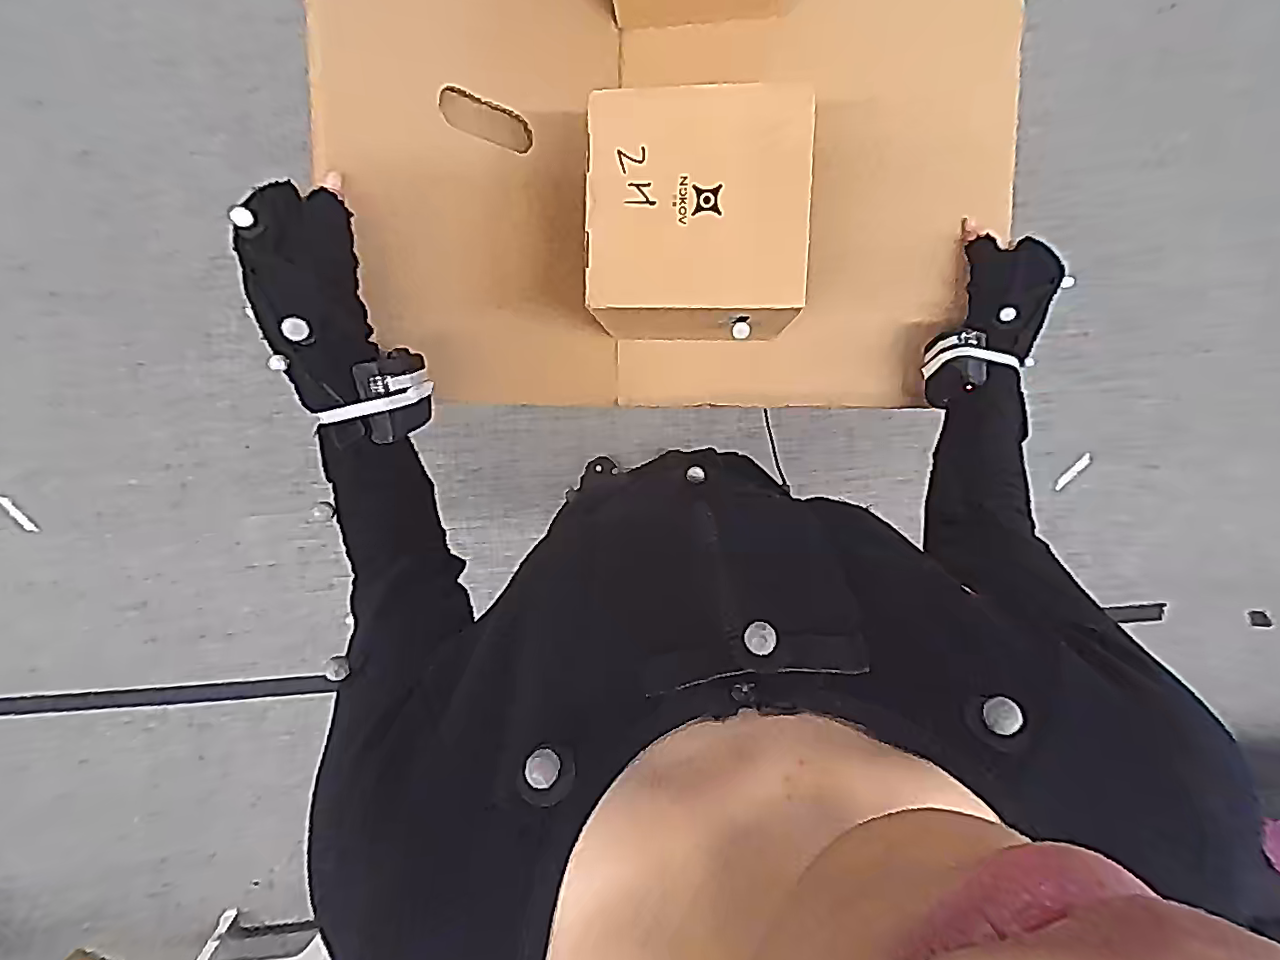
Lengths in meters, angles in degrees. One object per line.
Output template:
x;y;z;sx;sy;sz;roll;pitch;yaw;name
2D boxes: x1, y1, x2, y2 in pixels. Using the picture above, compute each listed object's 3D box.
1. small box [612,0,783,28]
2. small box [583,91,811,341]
0.051;-0.548;0.479;0.179;0.176;0.168;0;95;5;small box
0.051;-0.229;0.509;0.179;0.176;0.168;3;95;7;small box
